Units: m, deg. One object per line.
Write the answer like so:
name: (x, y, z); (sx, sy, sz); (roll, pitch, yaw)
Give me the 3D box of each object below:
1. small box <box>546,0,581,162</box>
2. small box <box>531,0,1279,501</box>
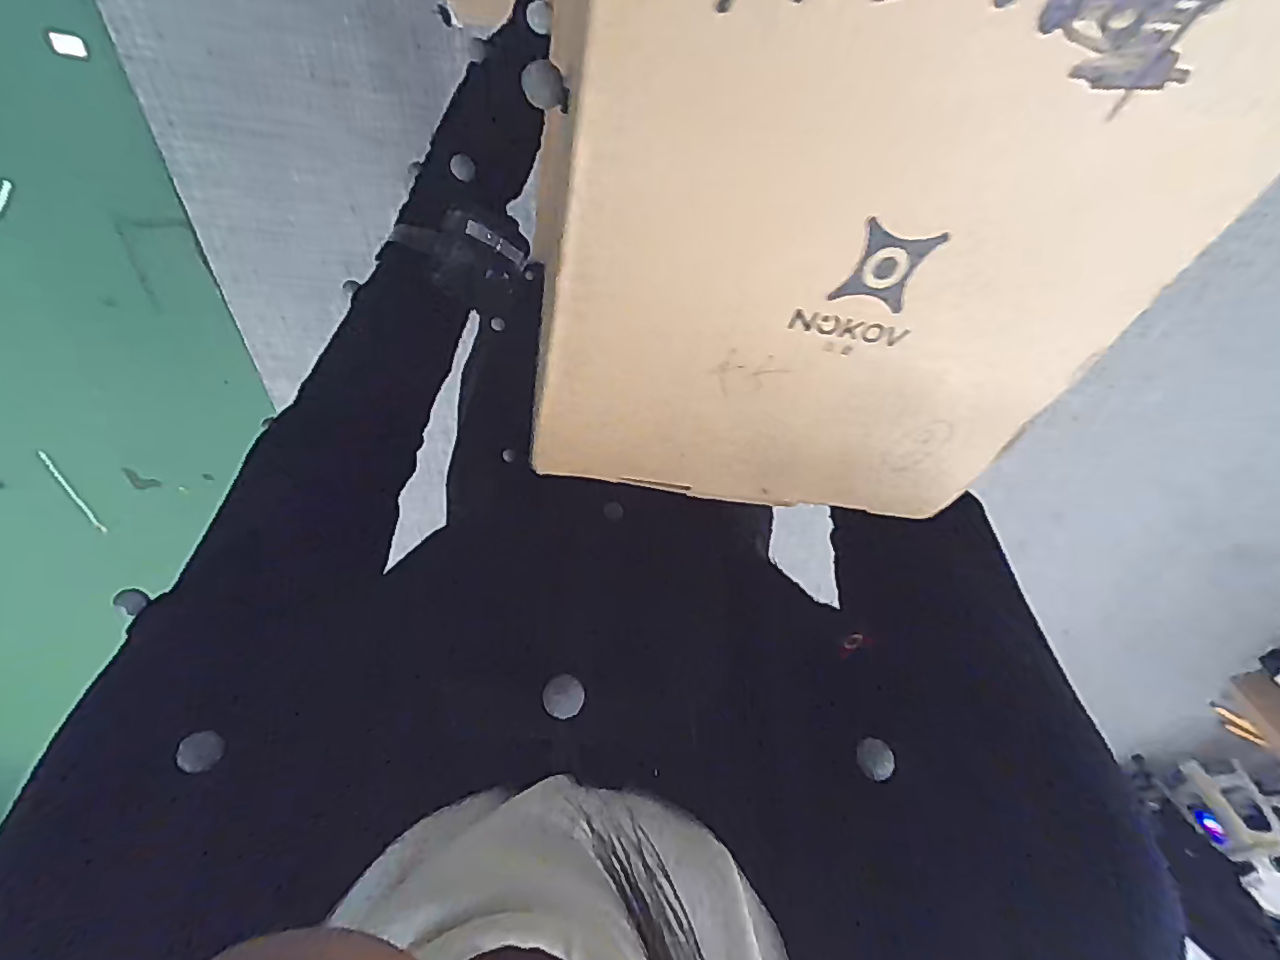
small box: (0.024, -0.353, 0.434); (0.179, 0.176, 0.168); (5, 139, -14)
small box: (0.054, -0.116, 0.209); (0.168, 0.176, 0.179); (6, 138, -13)
